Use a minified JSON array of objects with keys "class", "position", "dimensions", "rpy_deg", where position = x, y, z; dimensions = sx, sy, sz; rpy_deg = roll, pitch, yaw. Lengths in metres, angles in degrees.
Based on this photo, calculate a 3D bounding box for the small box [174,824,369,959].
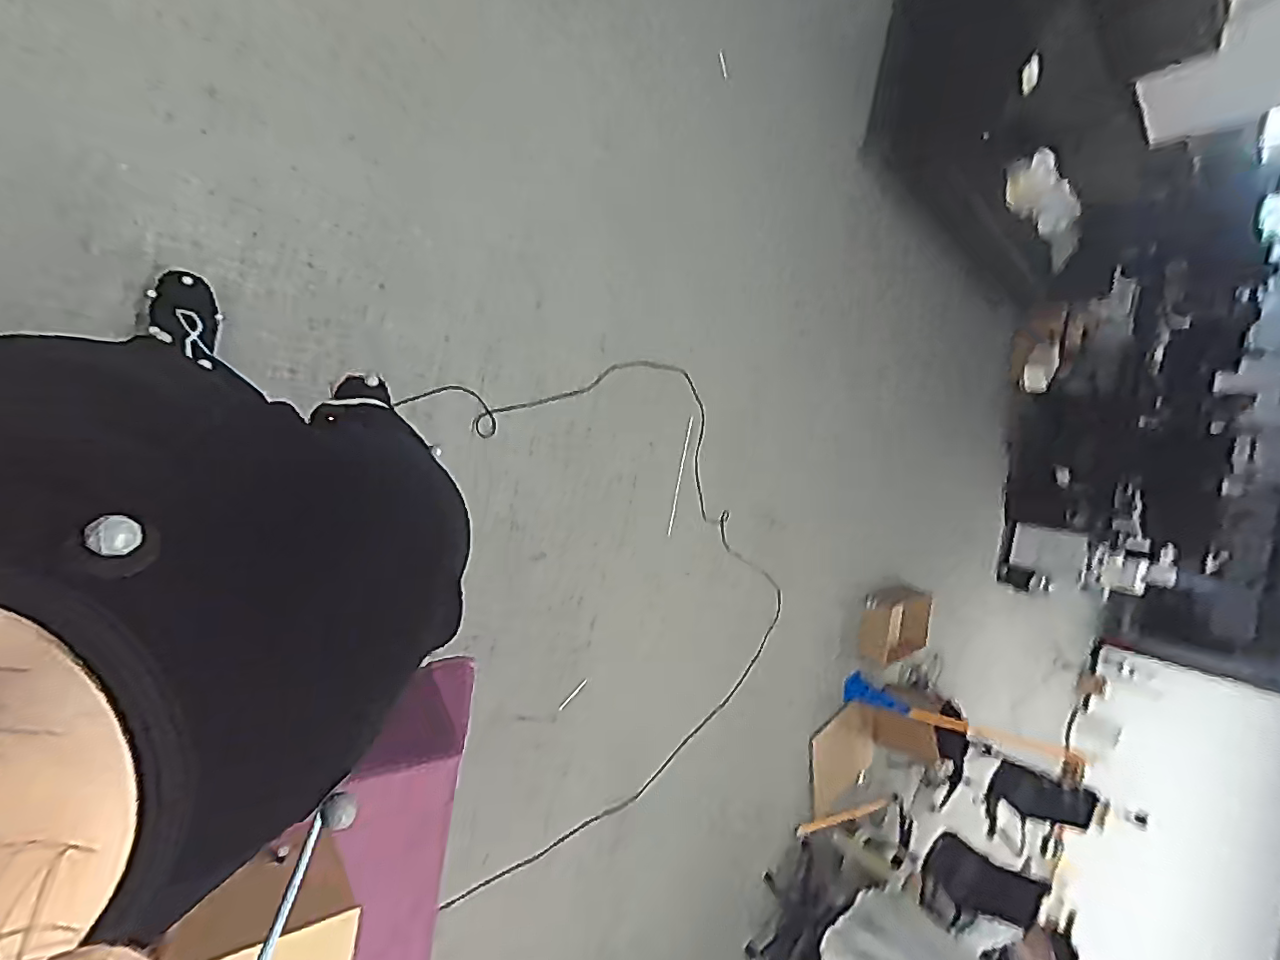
[{"class":"small box","position":[-0.451,0.569,0.656],"dimensions":[0.168,0.176,0.179],"rpy_deg":[9,91,-42]}]
